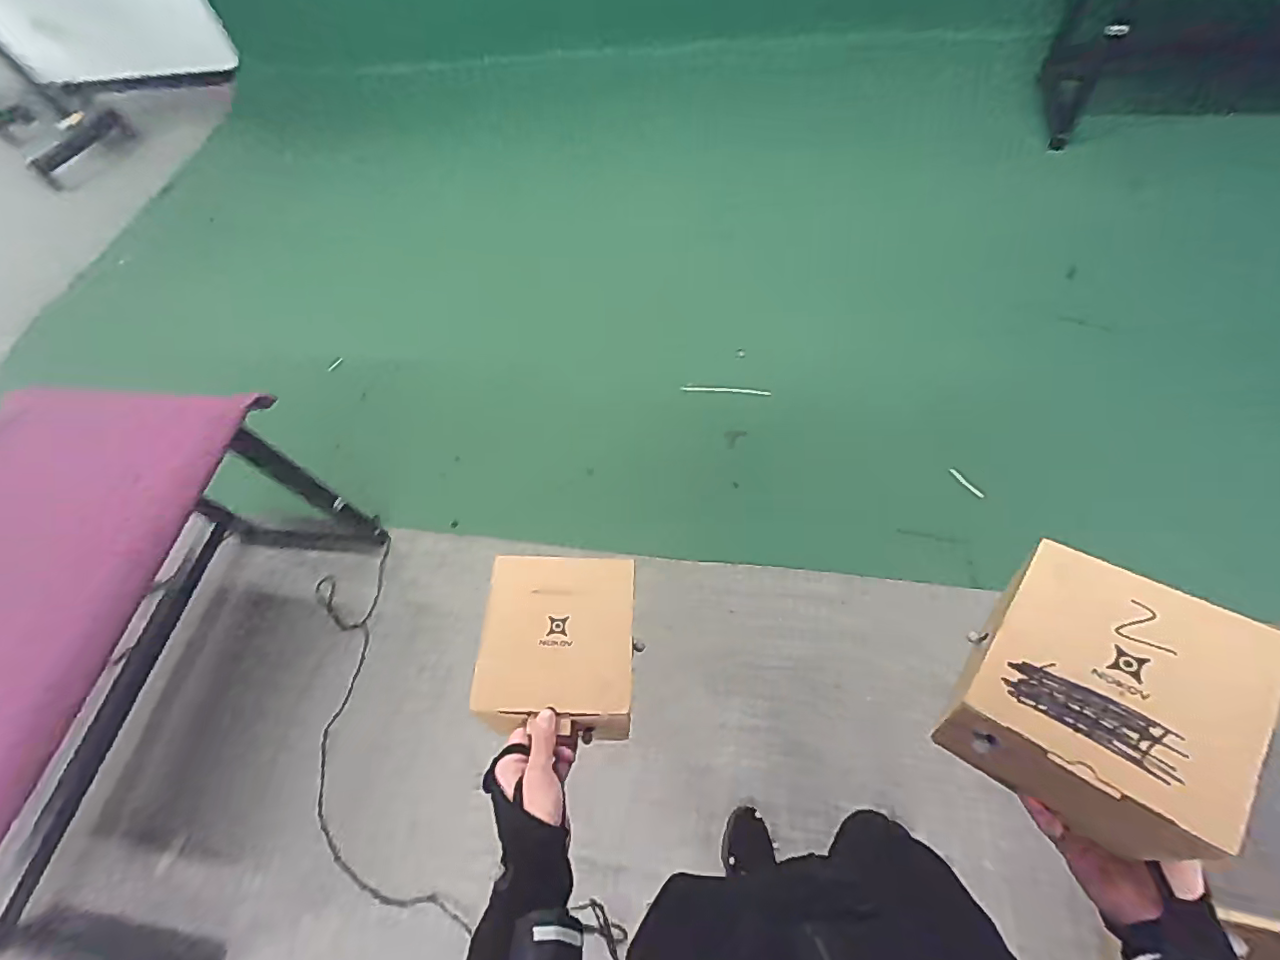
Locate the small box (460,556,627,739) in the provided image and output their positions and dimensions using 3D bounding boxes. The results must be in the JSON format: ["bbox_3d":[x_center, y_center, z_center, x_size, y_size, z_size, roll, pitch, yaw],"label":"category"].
[{"bbox_3d":[-0.101,0.208,0.655,0.168,0.176,0.179,2,56,-1],"label":"small box"}]
